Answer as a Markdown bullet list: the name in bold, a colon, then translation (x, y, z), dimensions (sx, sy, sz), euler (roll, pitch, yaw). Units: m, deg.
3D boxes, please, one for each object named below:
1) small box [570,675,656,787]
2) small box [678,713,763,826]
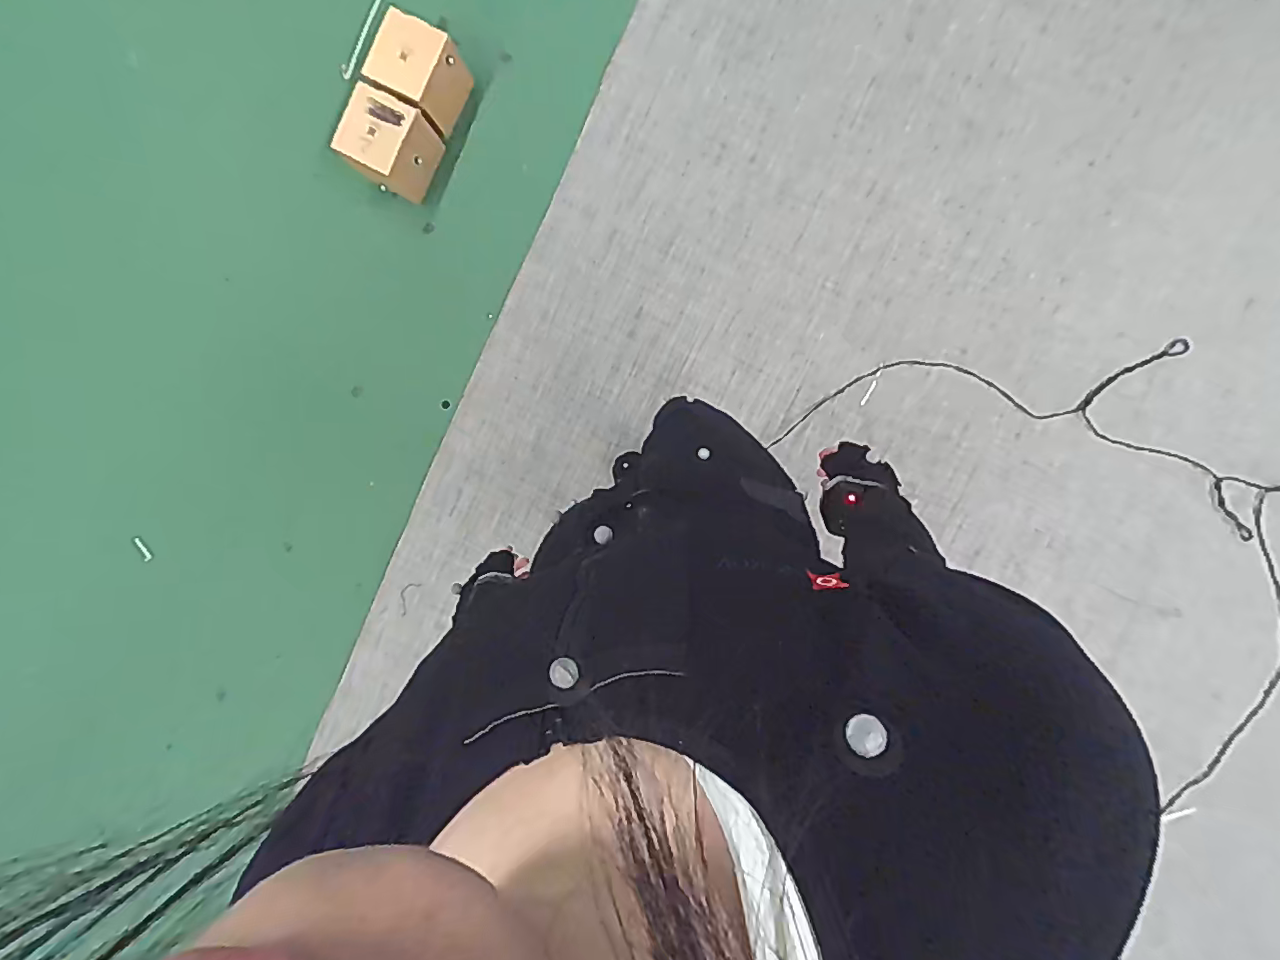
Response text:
- **small box**: translation (-0.064, 0.654, 1.426), dimensions (0.168, 0.176, 0.179), euler (26, 93, 0)
- **small box**: translation (0.200, 0.745, 1.415), dimensions (0.168, 0.176, 0.179), euler (20, 94, 1)
